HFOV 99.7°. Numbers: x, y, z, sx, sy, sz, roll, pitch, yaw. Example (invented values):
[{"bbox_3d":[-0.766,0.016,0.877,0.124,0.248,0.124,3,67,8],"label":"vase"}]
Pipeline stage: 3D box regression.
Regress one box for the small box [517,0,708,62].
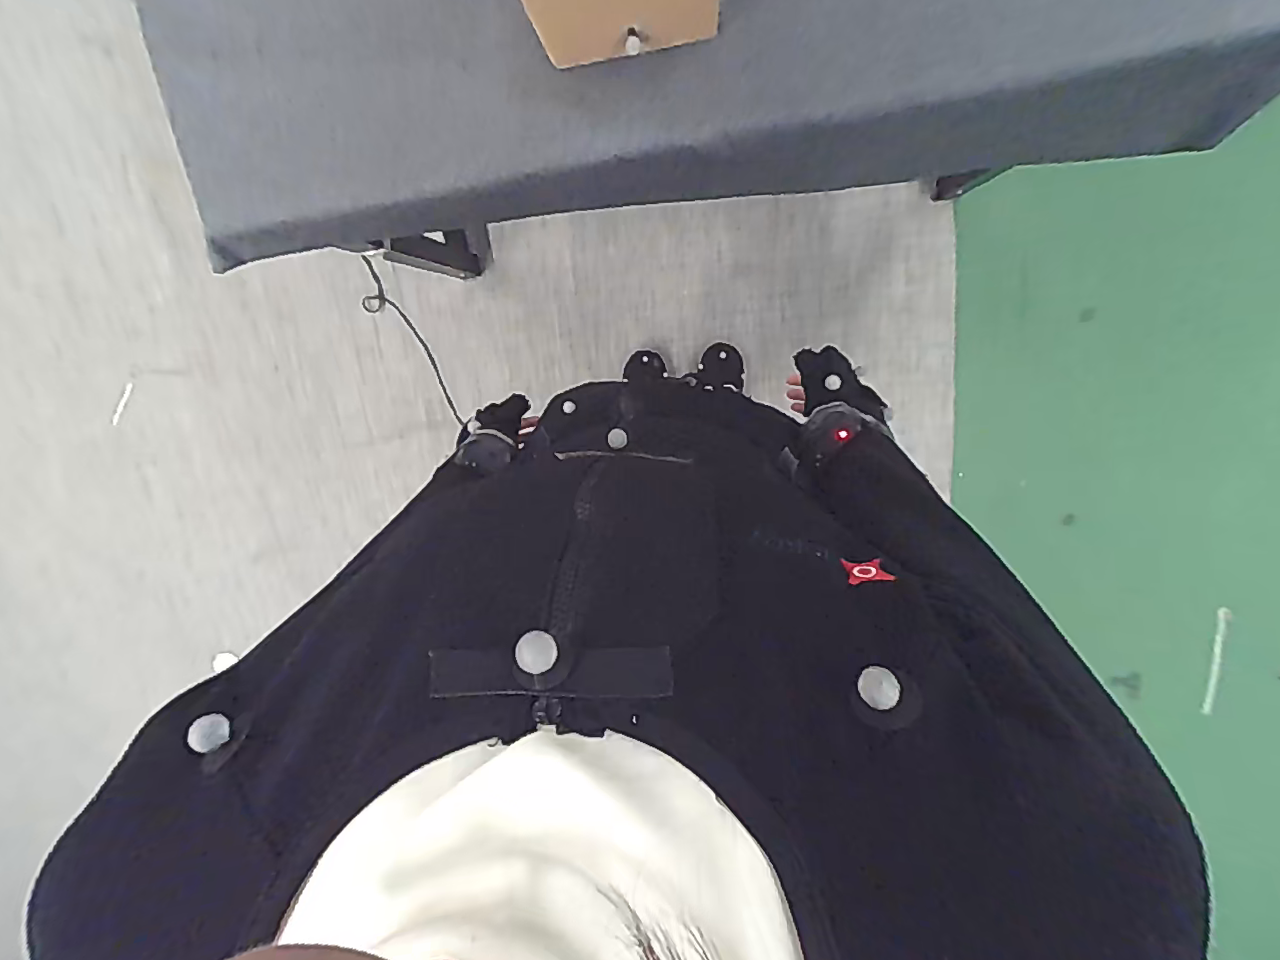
[{"bbox_3d":[-0.028,-0.511,0.475,0.179,0.176,0.168,-5,104,7],"label":"small box"}]
